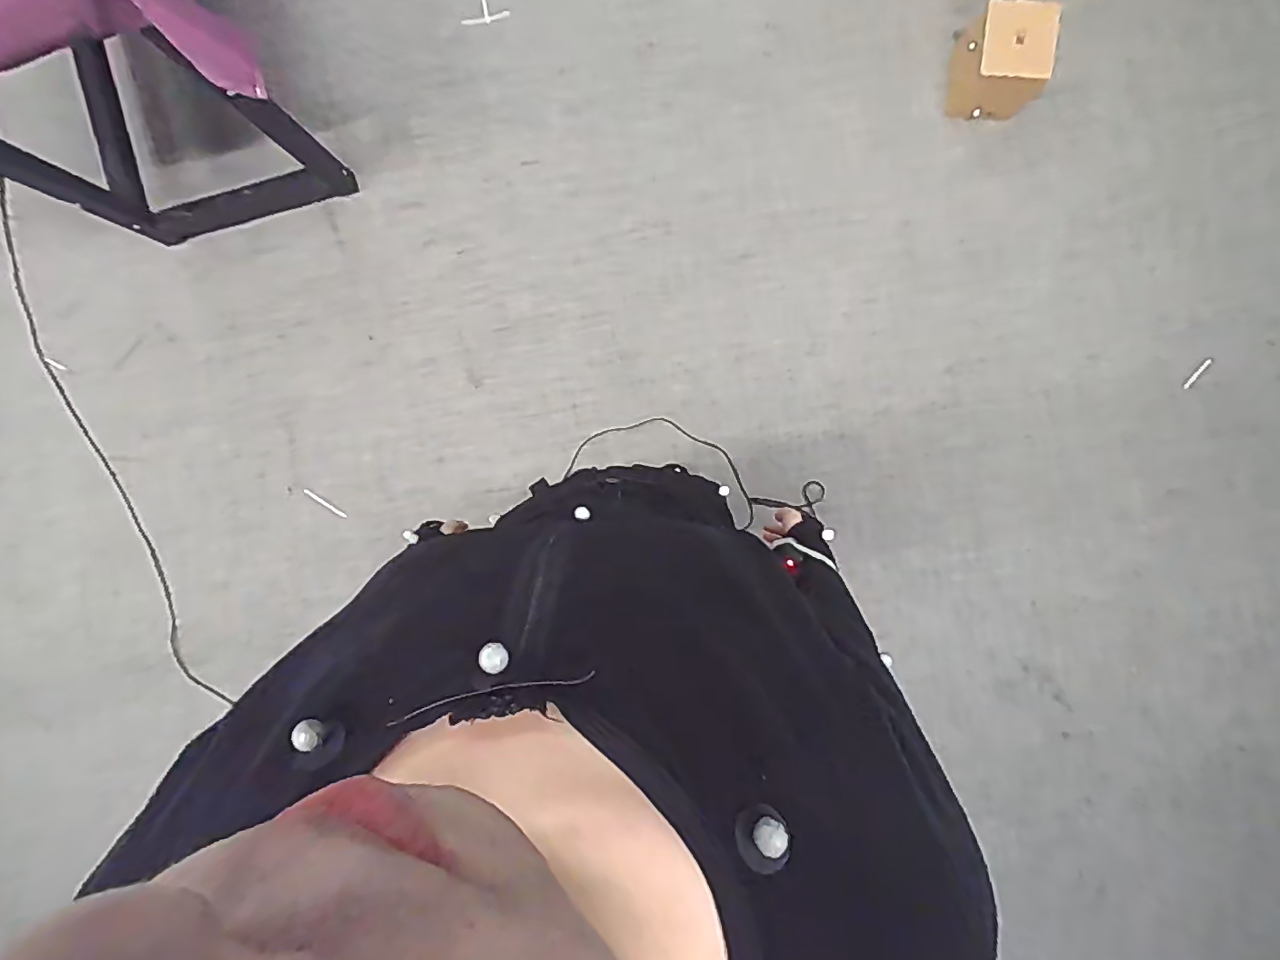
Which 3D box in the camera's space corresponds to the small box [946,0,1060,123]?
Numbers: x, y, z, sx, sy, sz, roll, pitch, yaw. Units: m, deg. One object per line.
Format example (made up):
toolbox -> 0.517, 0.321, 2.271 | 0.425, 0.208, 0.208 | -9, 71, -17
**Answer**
small box -> 0.892, -1.035, 1.345 | 0.168, 0.176, 0.179 | 6, 94, 2
